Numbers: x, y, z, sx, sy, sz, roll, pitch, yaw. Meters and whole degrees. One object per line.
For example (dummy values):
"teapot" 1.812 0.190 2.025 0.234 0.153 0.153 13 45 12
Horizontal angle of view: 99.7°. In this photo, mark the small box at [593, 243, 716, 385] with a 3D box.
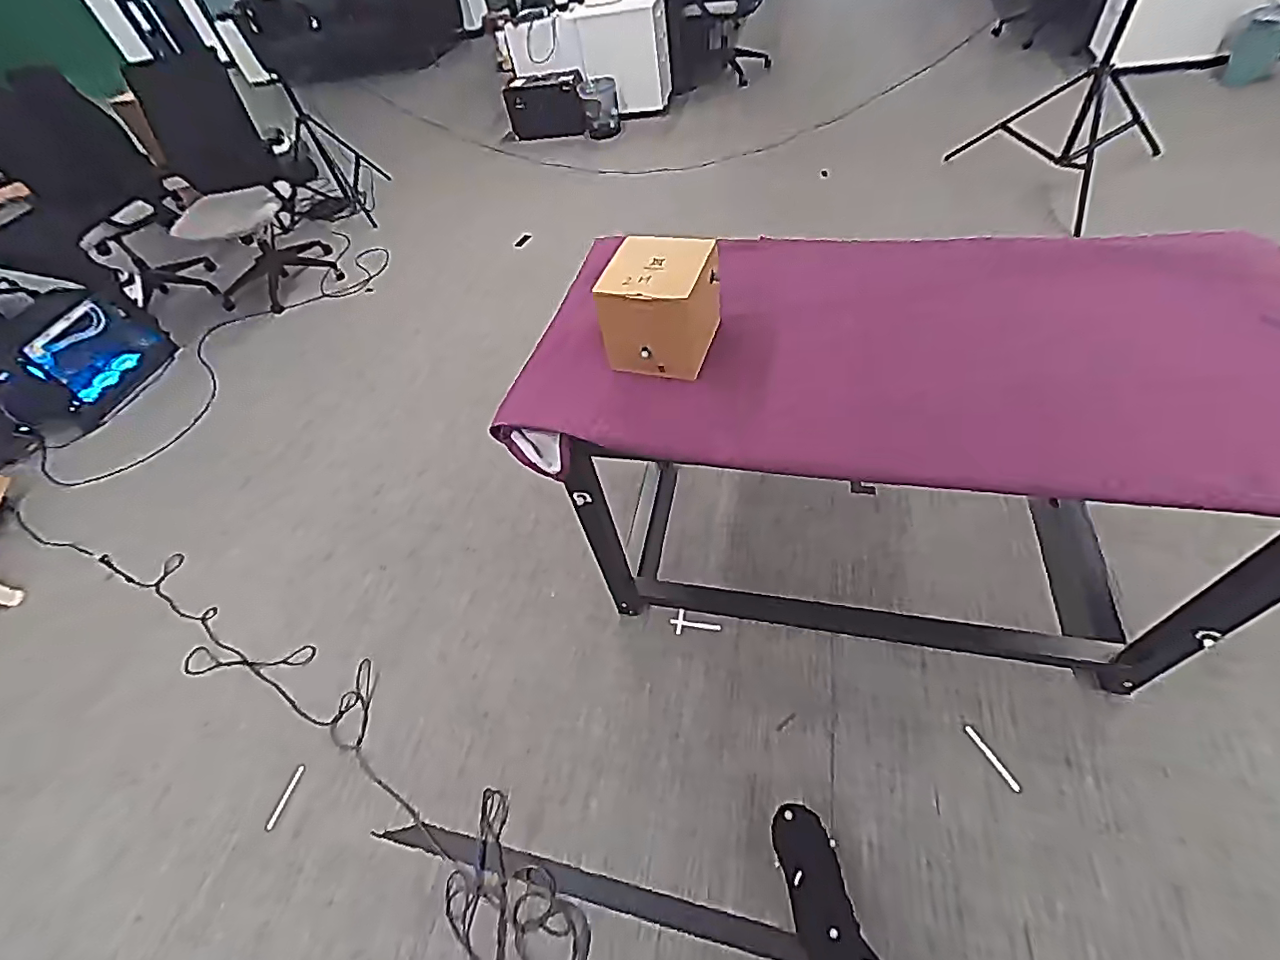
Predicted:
"small box" 0.036 -0.298 0.967 0.168 0.176 0.179 11 55 19
